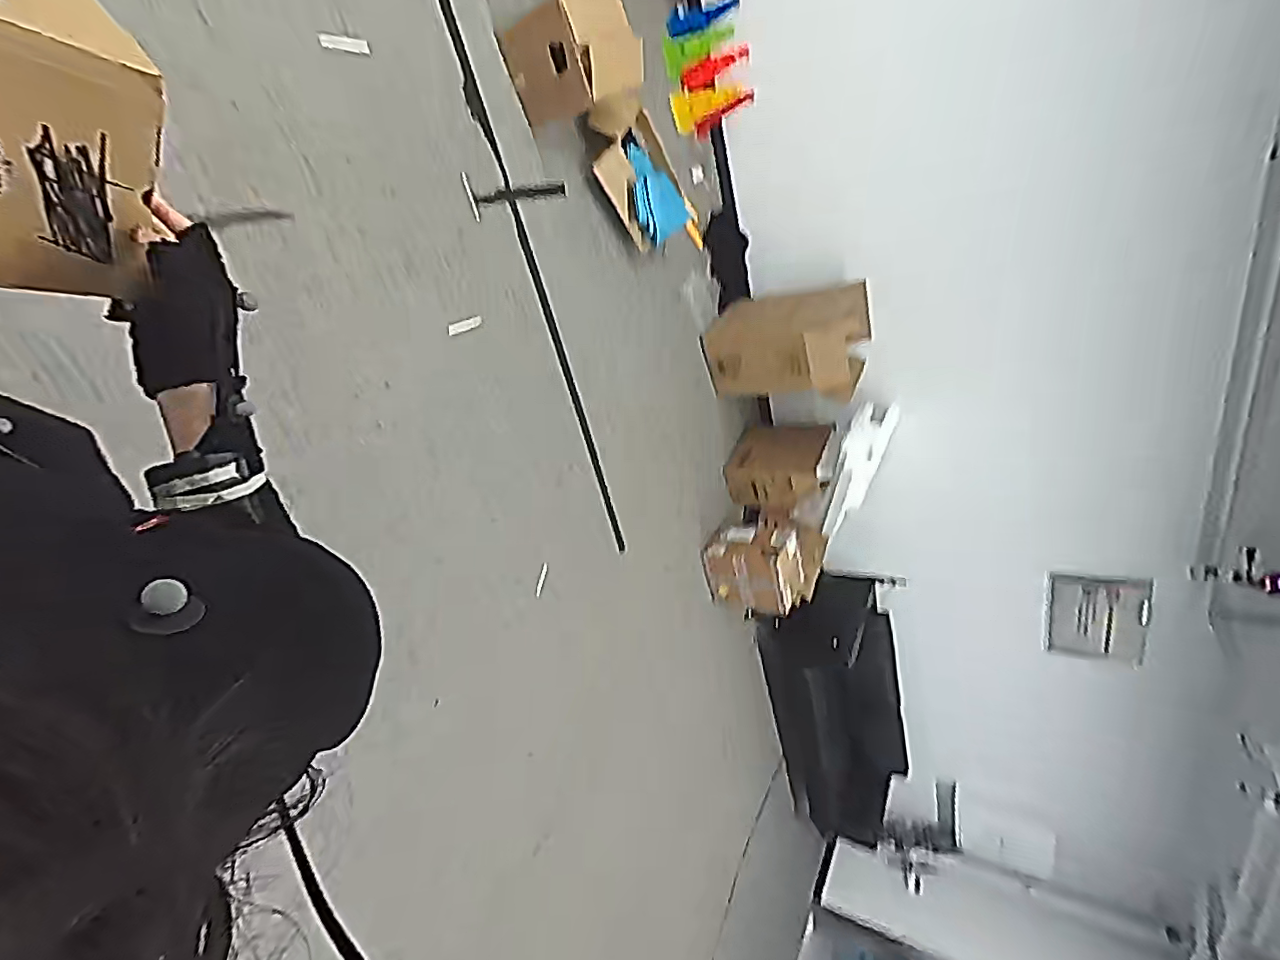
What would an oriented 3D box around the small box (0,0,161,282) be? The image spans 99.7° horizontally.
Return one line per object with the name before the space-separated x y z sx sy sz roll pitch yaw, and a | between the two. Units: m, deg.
small box | -0.444 -0.251 0.333 0.179 0.176 0.168 -15 146 -55
